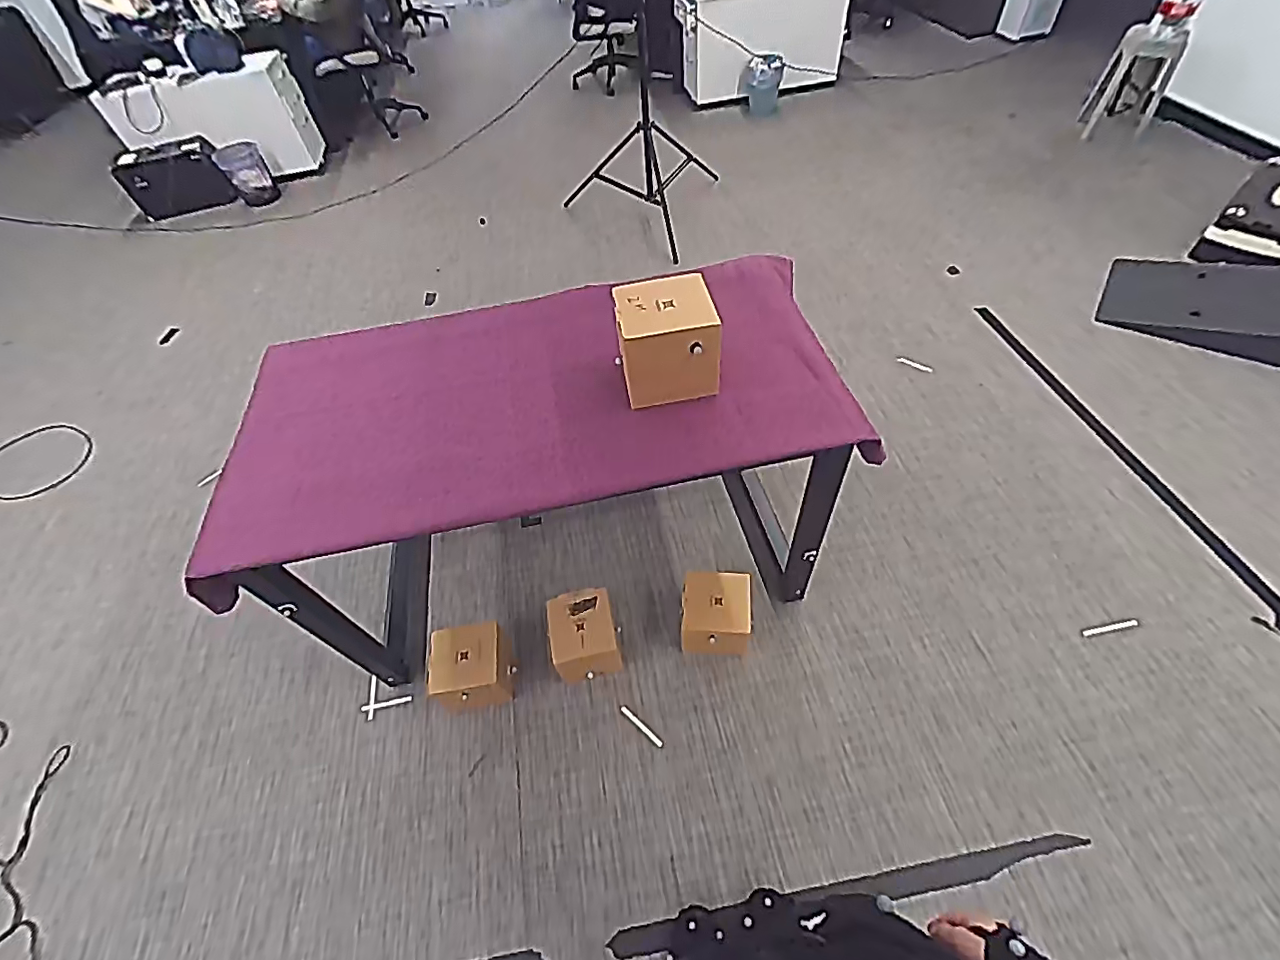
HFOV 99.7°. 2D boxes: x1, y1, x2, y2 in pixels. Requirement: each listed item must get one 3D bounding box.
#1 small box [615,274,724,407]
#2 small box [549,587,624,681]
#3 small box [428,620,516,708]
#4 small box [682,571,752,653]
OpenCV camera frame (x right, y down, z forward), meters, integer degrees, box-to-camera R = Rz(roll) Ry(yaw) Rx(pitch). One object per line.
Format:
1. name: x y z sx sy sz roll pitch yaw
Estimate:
1. small box: 0.054 -0.264 1.036 0.179 0.176 0.168 -10 52 -1
2. small box: -0.143 0.418 1.459 0.168 0.176 0.179 -12 54 -3
3. small box: -0.438 0.494 1.437 0.179 0.176 0.168 -9 53 -2
4. small box: 0.209 0.361 1.466 0.179 0.176 0.168 1 54 9
